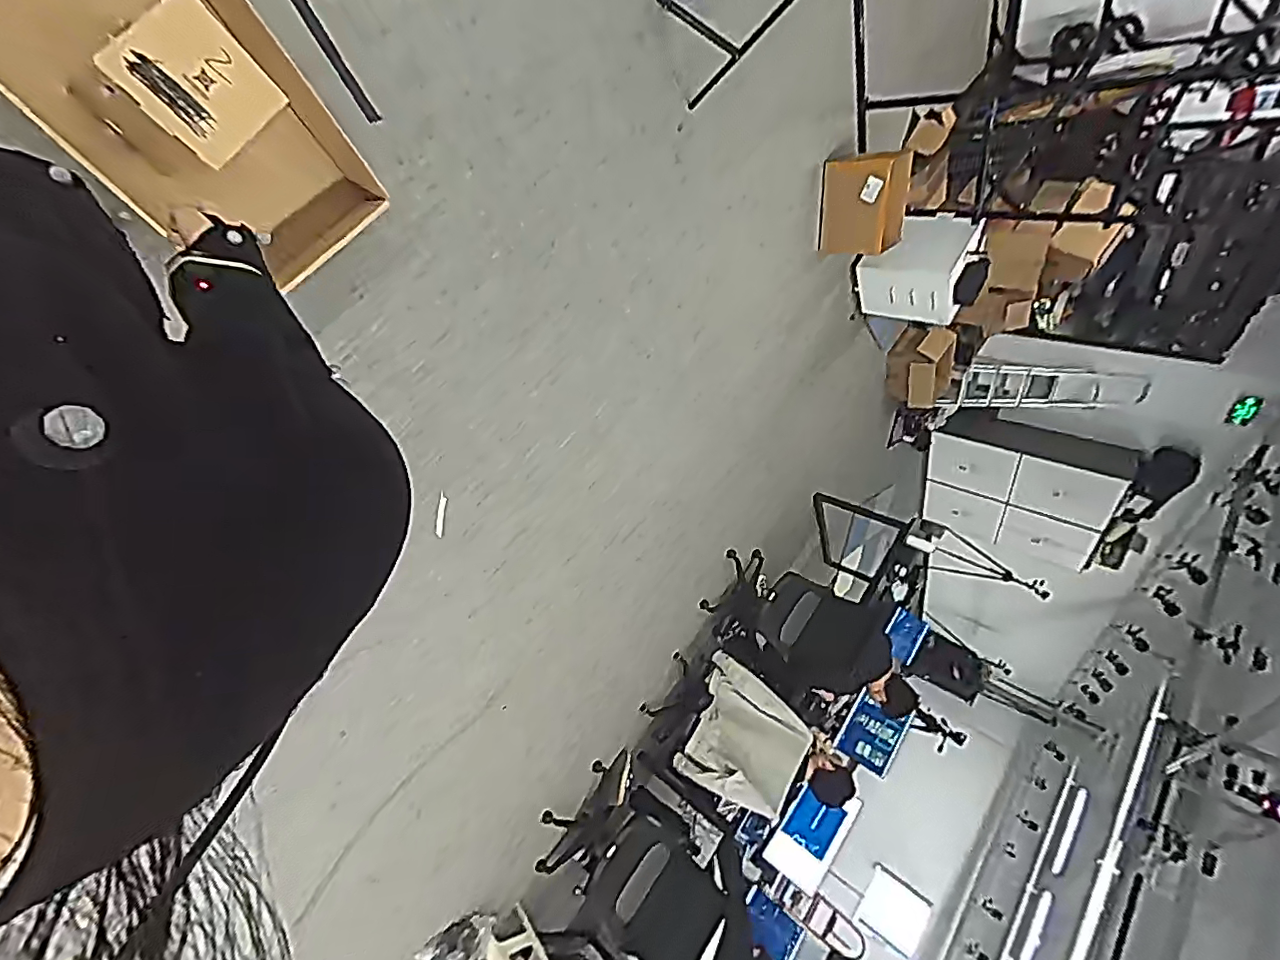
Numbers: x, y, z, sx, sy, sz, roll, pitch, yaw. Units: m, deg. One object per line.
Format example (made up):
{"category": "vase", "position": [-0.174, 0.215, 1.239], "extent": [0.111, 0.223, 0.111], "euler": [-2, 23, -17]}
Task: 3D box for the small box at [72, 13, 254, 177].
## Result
{"category": "small box", "position": [-0.839, -0.664, 0.949], "extent": [0.179, 0.176, 0.168], "euler": [-56, 141, -13]}
